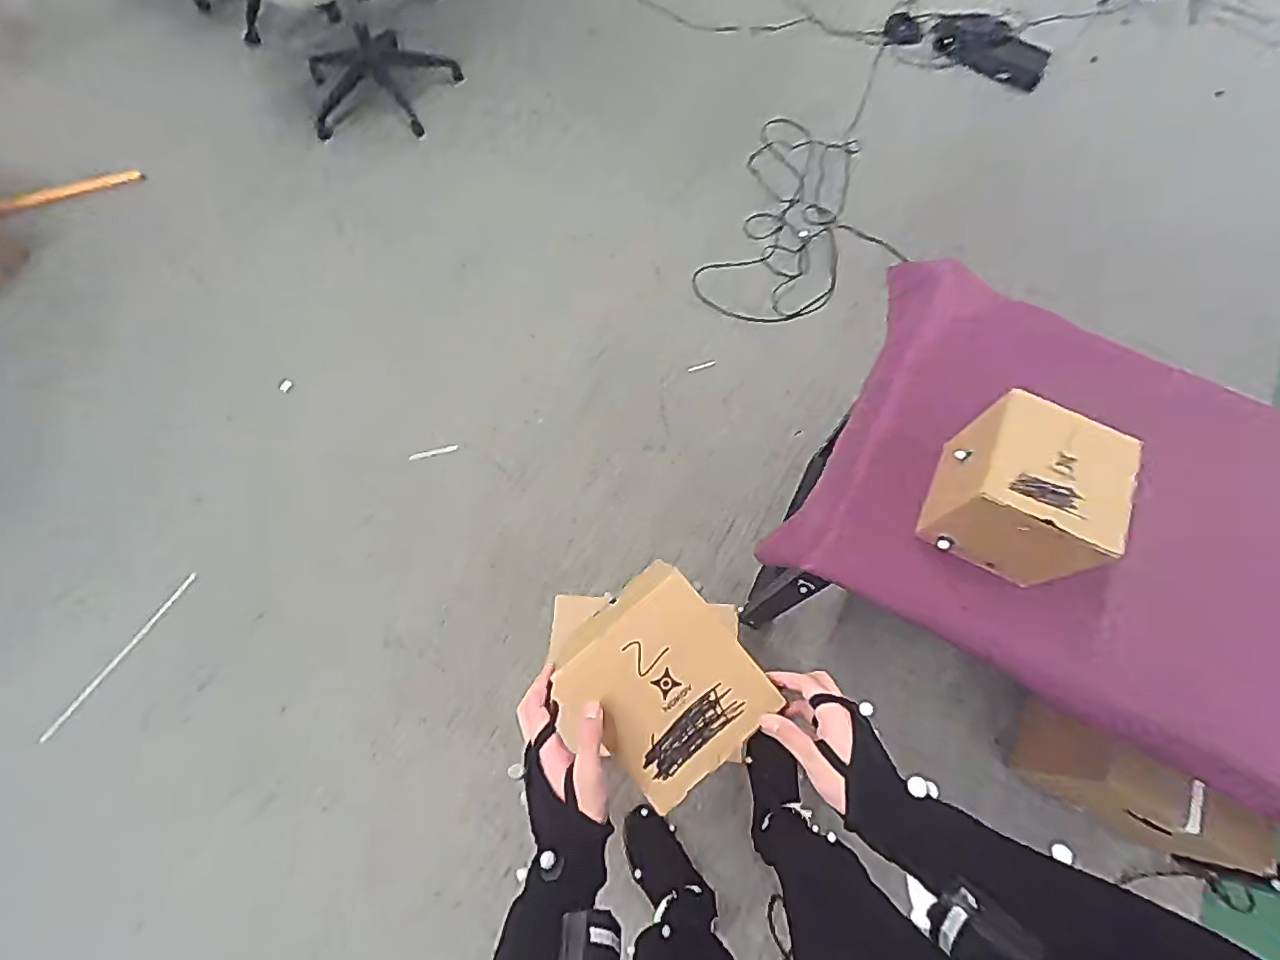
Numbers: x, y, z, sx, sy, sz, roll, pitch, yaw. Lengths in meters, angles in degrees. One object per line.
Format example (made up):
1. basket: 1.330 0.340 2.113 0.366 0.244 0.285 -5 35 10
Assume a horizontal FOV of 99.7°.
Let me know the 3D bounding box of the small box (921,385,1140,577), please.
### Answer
1. small box: 0.519 0.010 0.741 0.168 0.176 0.179 27 68 9

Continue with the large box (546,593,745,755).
1. large box: 0.008 0.456 1.261 0.408 0.320 0.320 3 67 -1
